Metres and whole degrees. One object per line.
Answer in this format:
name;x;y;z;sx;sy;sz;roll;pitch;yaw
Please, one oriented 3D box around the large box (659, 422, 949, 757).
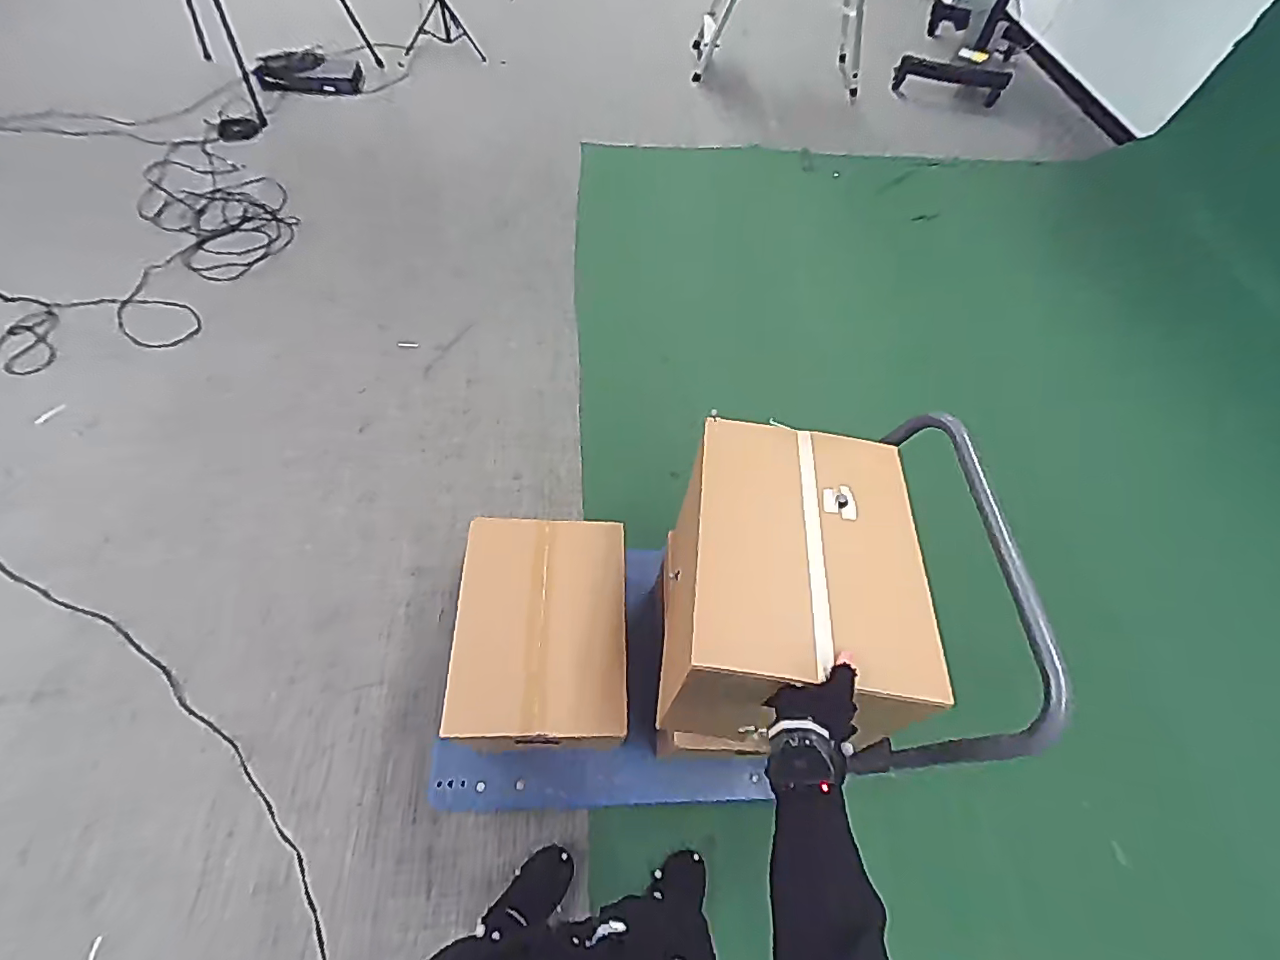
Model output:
large box;0.210;0.173;0.851;0.320;0.320;0.408;9;51;-1
